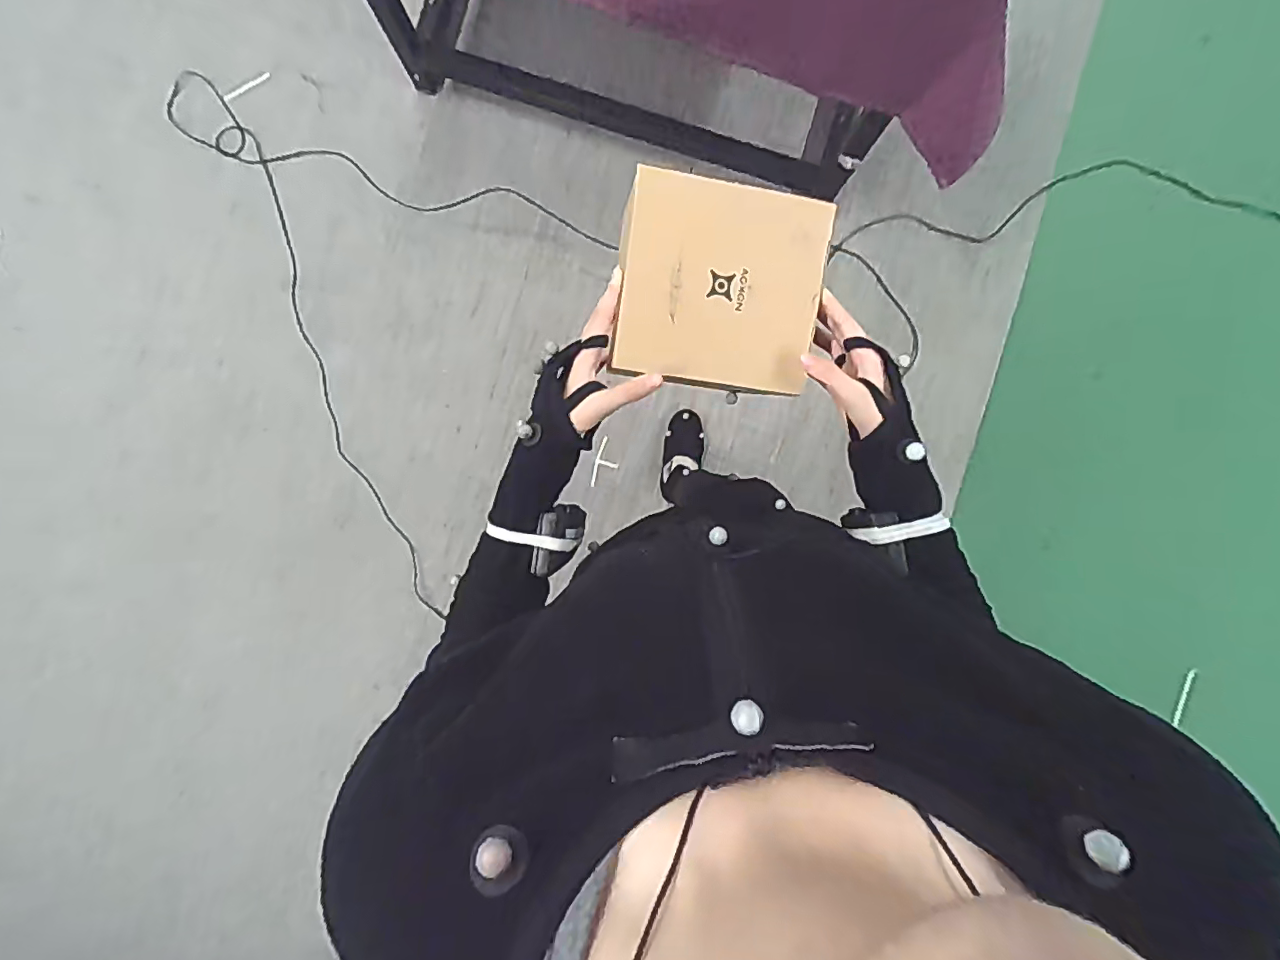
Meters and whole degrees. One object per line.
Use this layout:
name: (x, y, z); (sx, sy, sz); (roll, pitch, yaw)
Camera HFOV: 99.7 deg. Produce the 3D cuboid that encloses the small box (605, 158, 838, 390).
small box: (0.064, -0.185, 0.540); (0.179, 0.176, 0.168); (7, 98, -7)
